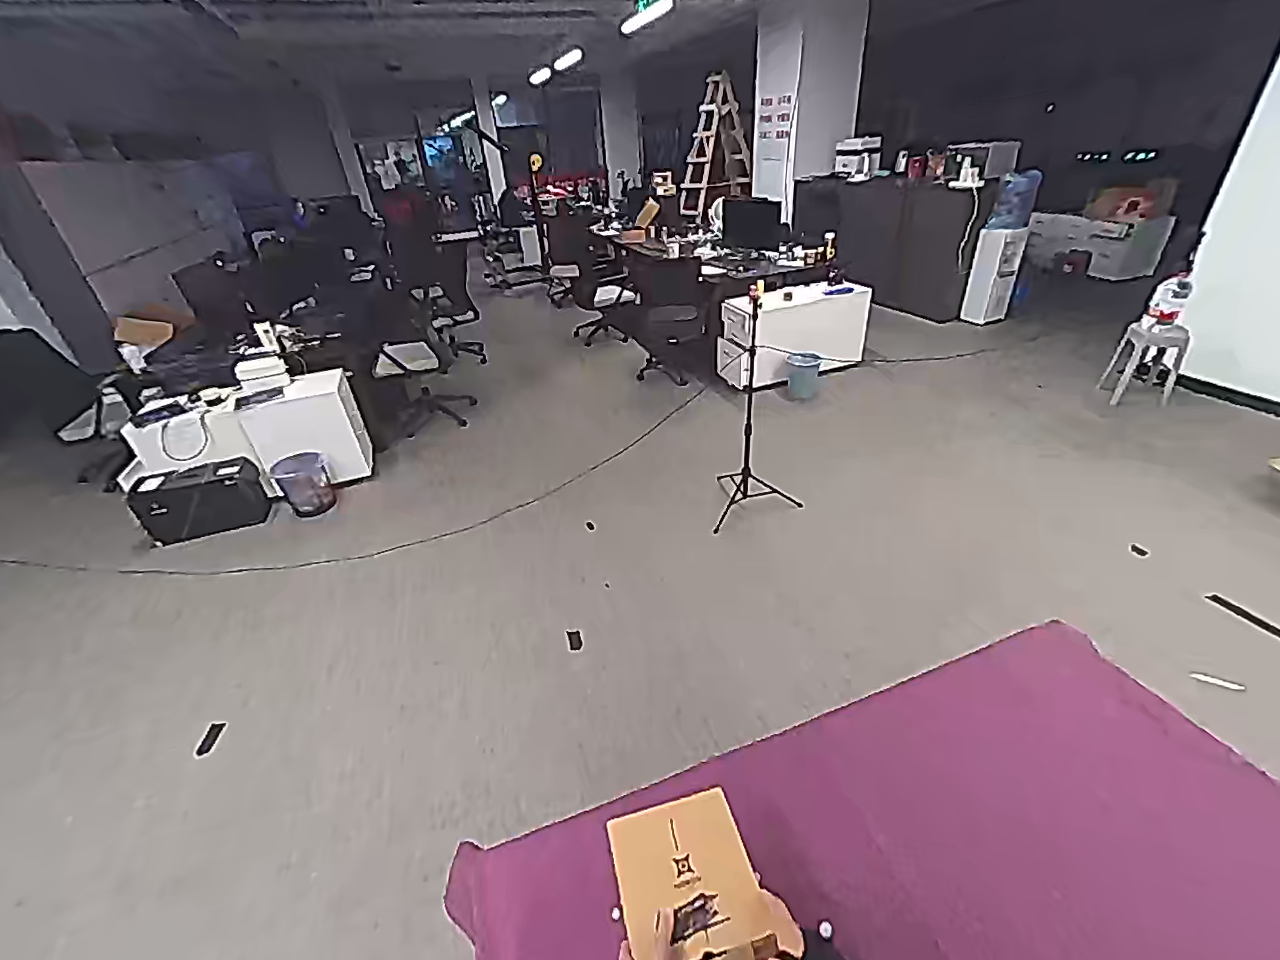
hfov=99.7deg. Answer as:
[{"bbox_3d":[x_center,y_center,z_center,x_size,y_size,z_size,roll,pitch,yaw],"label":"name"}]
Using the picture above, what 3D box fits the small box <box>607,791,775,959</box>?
[{"bbox_3d":[0.061,0.552,0.703,0.168,0.176,0.179,-11,33,-10],"label":"small box"}]
